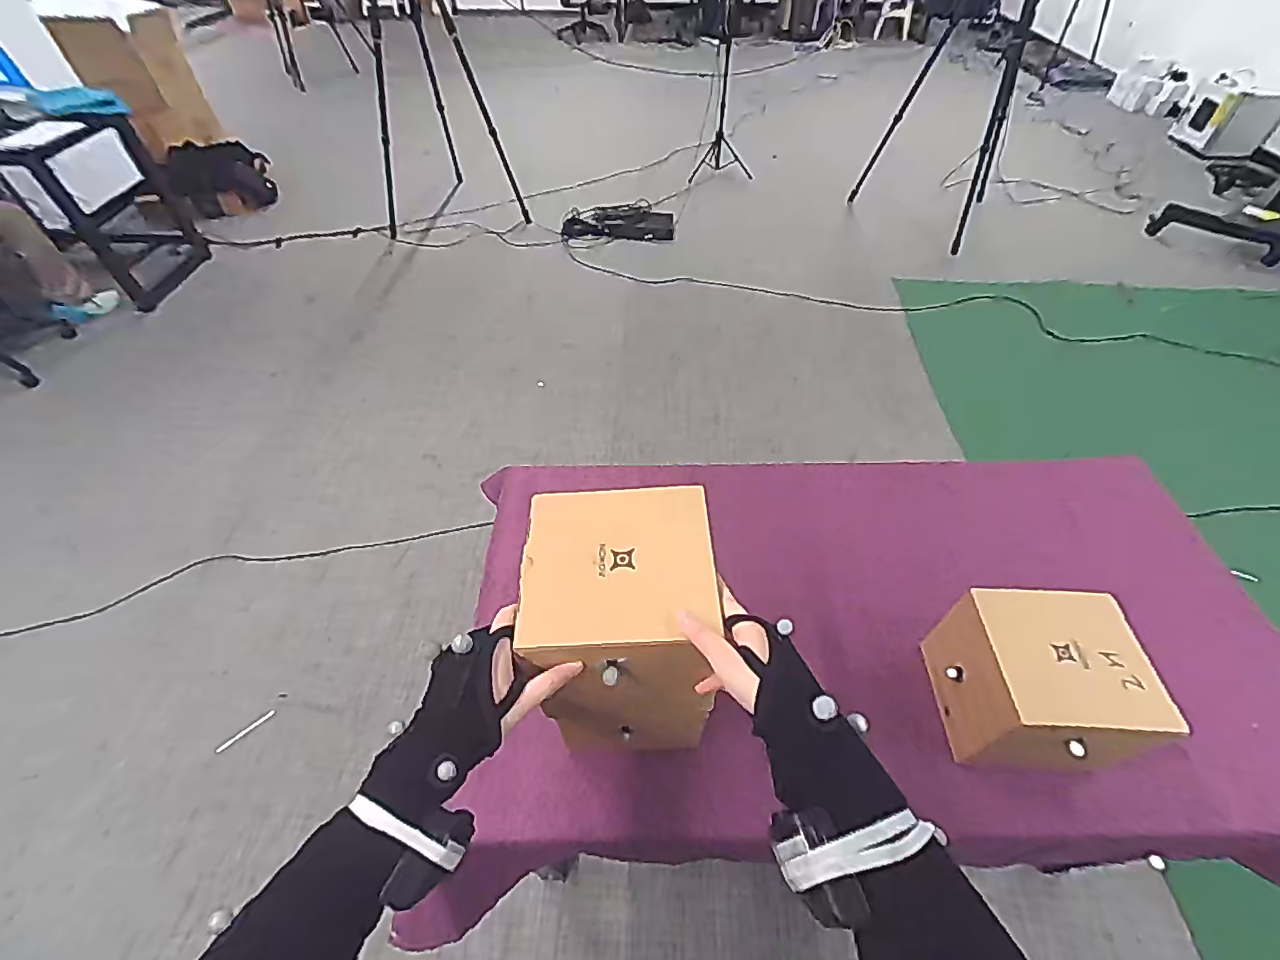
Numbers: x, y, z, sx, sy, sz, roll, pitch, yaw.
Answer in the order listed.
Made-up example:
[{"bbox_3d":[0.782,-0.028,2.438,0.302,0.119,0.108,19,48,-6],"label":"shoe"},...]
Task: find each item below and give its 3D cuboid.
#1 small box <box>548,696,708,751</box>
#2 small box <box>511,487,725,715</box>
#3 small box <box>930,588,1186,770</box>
[{"bbox_3d":[-0.014,0.238,0.697,0.179,0.176,0.168,-3,49,0],"label":"small box"},{"bbox_3d":[-0.015,0.126,0.548,0.179,0.176,0.168,-4,48,2],"label":"small box"},{"bbox_3d":[0.491,0.252,0.679,0.179,0.176,0.168,3,50,3],"label":"small box"}]
